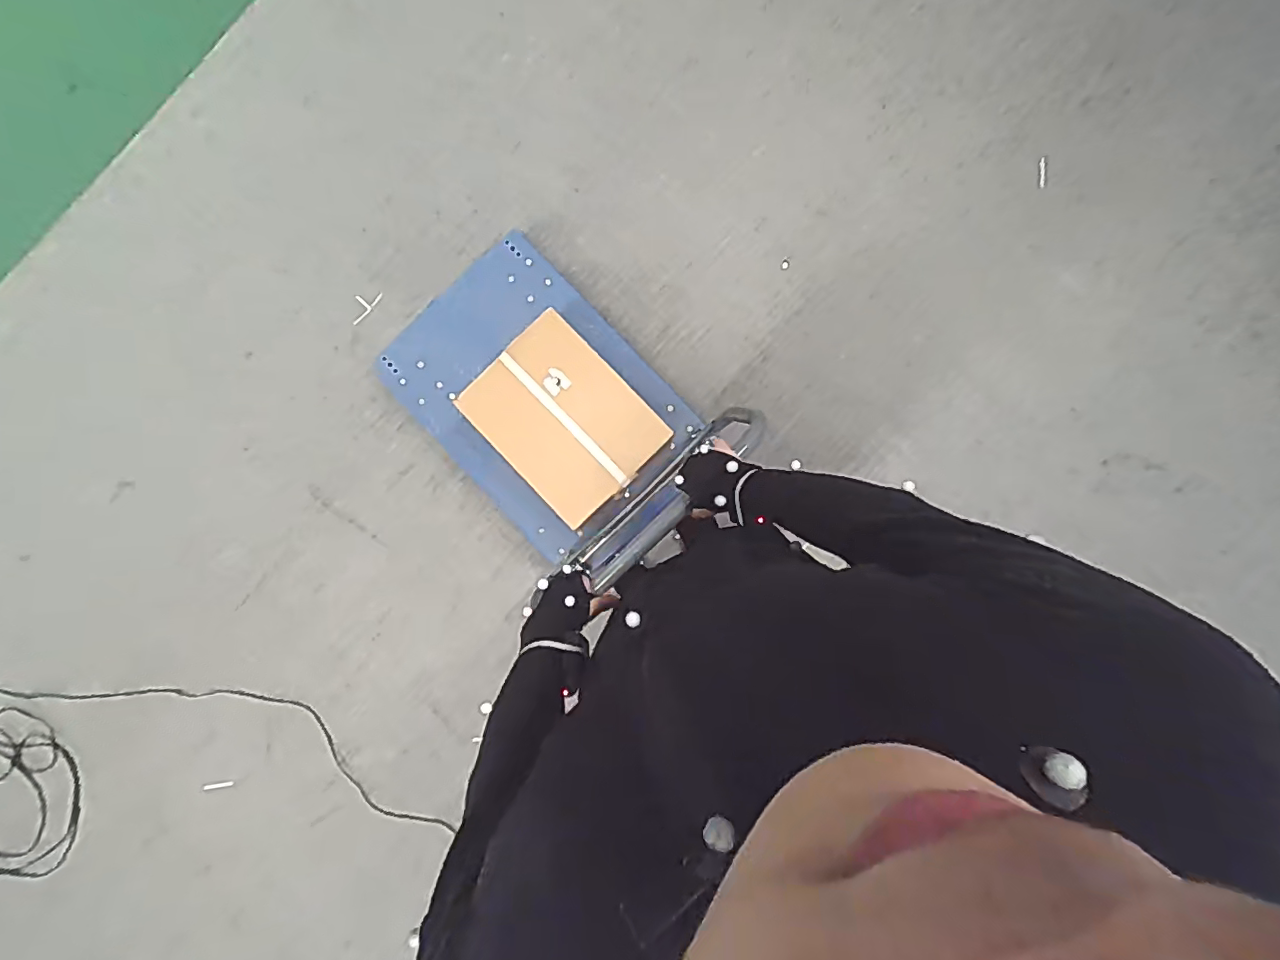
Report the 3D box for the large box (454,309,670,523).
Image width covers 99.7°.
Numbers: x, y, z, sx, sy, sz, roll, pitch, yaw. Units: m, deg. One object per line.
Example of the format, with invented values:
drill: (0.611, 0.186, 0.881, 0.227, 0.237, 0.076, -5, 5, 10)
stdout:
large box: (-0.169, -0.138, 1.359, 0.320, 0.320, 0.408, -44, 86, -1)
